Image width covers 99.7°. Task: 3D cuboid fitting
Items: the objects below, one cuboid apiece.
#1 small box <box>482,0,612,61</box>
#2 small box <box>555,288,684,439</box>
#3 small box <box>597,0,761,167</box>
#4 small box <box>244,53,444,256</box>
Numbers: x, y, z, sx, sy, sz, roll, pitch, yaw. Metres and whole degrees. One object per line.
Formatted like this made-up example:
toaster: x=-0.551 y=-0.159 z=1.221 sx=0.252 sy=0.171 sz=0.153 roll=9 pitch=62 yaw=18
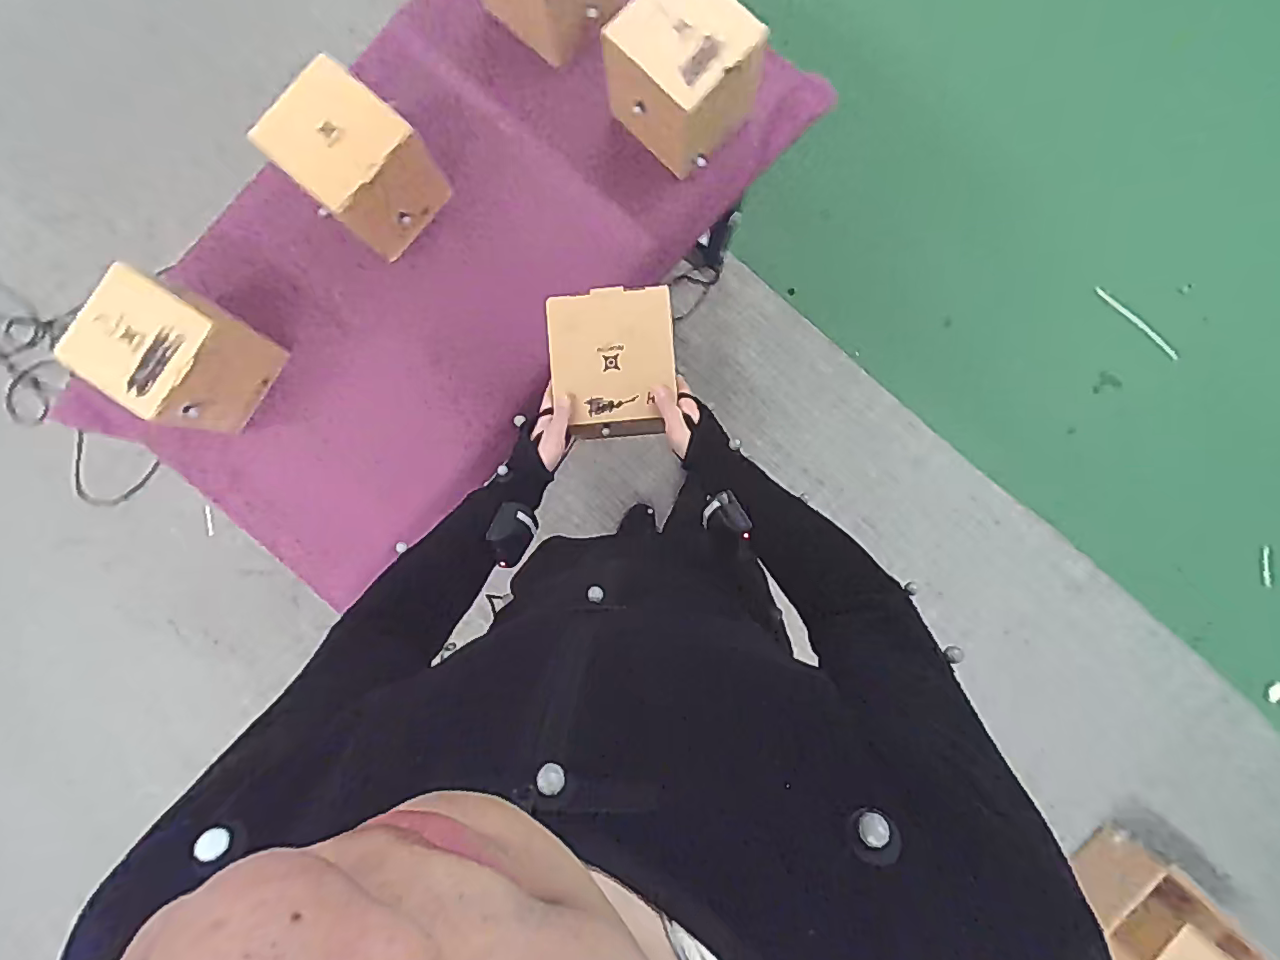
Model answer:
small box: x=-0.160 y=-0.825 z=0.849 sx=0.179 sy=0.176 sz=0.168 roll=41 pitch=90 yaw=0
small box: x=-0.024 y=-0.159 z=0.789 sx=0.168 sy=0.176 sz=0.179 roll=-3 pitch=89 yaw=4
small box: x=0.058 y=-0.632 z=0.843 sx=0.179 sy=0.176 sz=0.168 roll=44 pitch=90 yaw=3
small box: x=-0.446 y=-0.491 z=0.845 sx=0.179 sy=0.176 sz=0.168 roll=40 pitch=89 yaw=0
